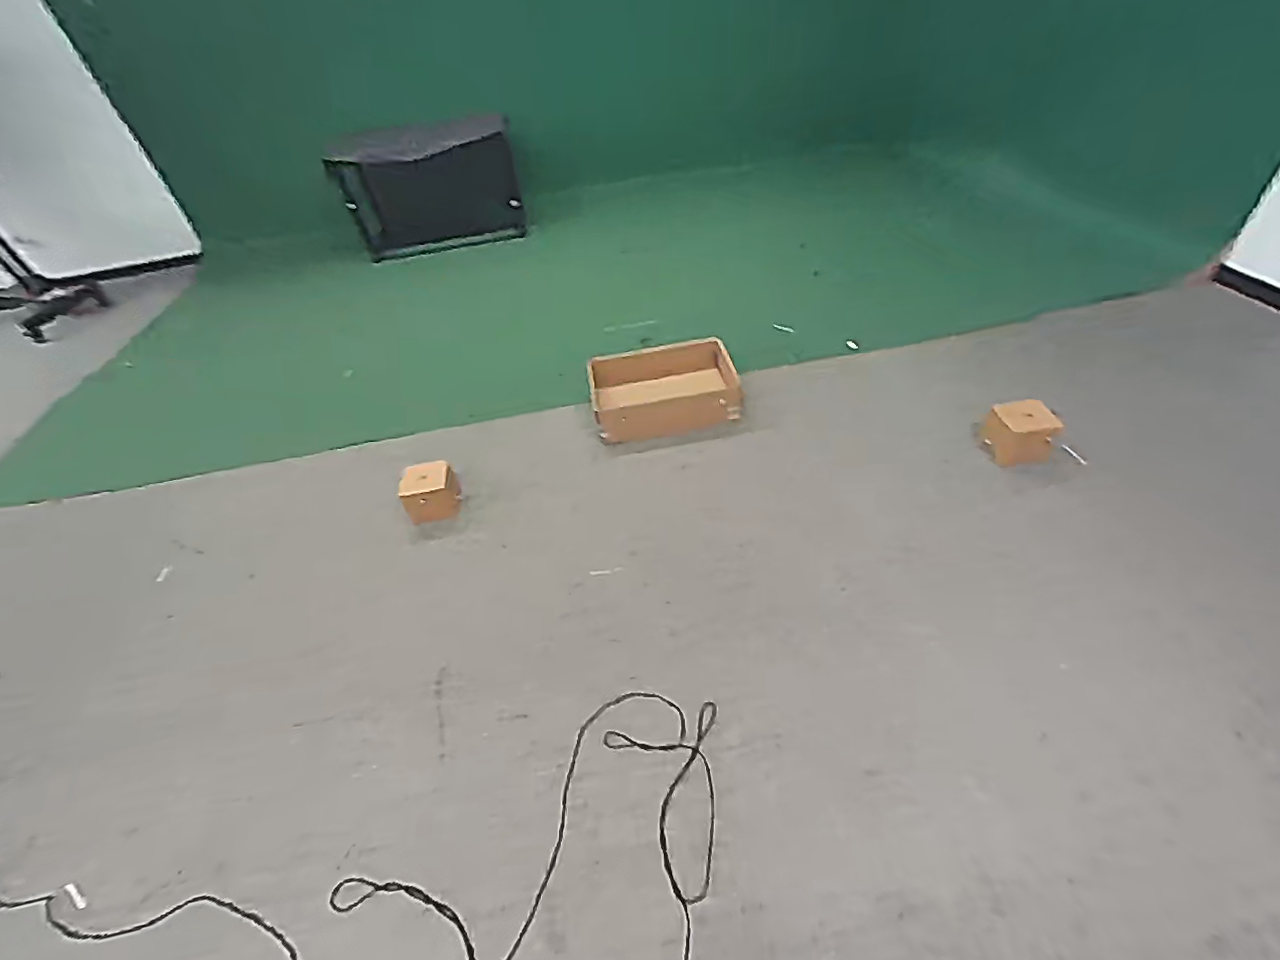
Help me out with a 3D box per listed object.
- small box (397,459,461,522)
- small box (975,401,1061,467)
[{"bbox_3d":[-0.820,0.047,2.113,0.179,0.176,0.168,-11,46,-4],"label":"small box"},{"bbox_3d":[1.375,-0.166,1.977,0.179,0.176,0.168,-7,44,2],"label":"small box"}]
